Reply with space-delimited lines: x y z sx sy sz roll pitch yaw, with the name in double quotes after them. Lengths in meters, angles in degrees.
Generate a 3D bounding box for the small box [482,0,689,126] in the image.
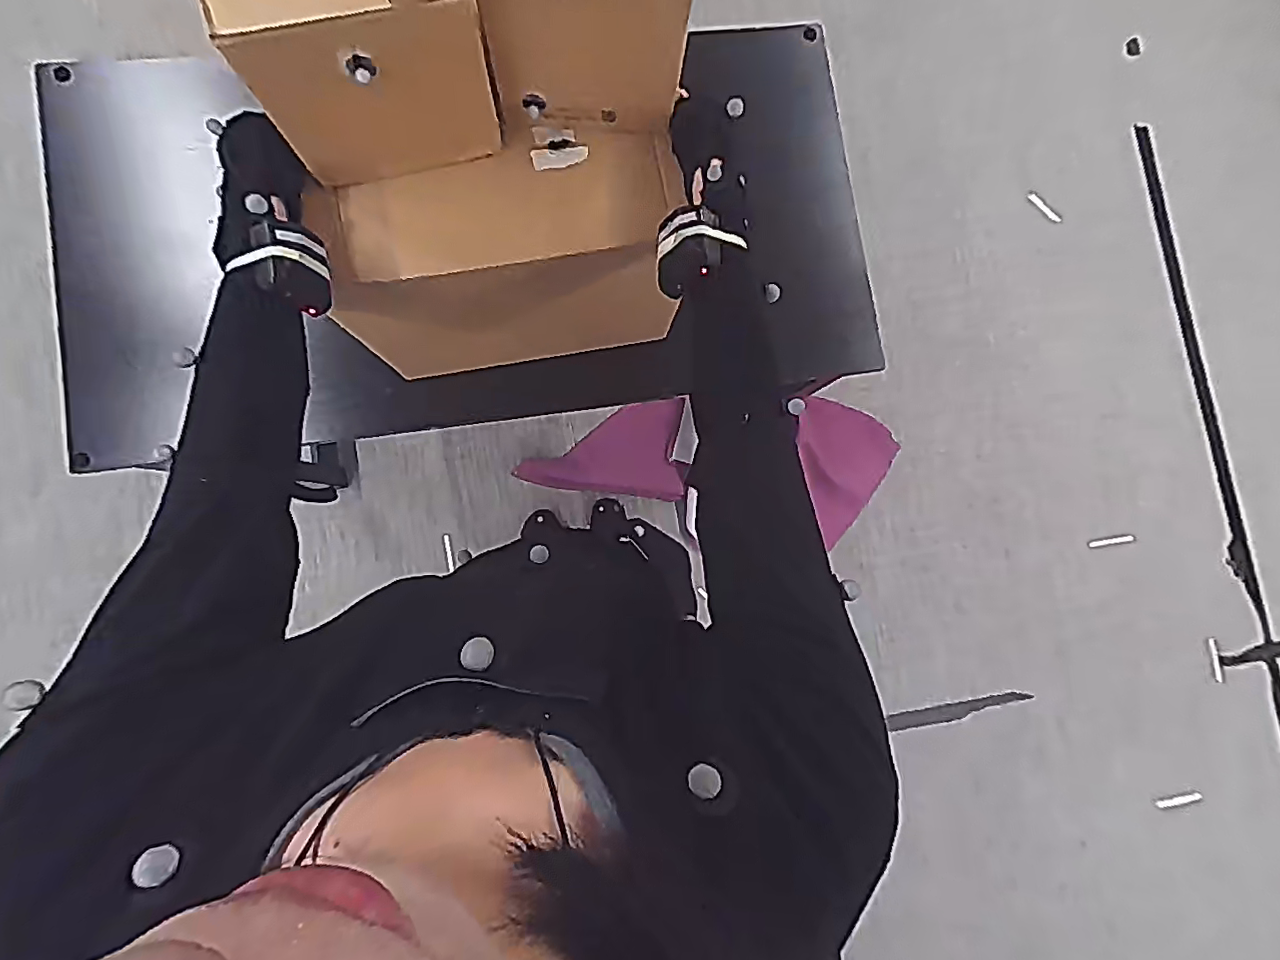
-0.044 -0.444 0.466 0.168 0.176 0.179 0 84 -5 "small box"

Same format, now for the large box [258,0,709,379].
-0.169 -0.350 0.690 0.408 0.320 0.320 -12 87 -8 "large box"
